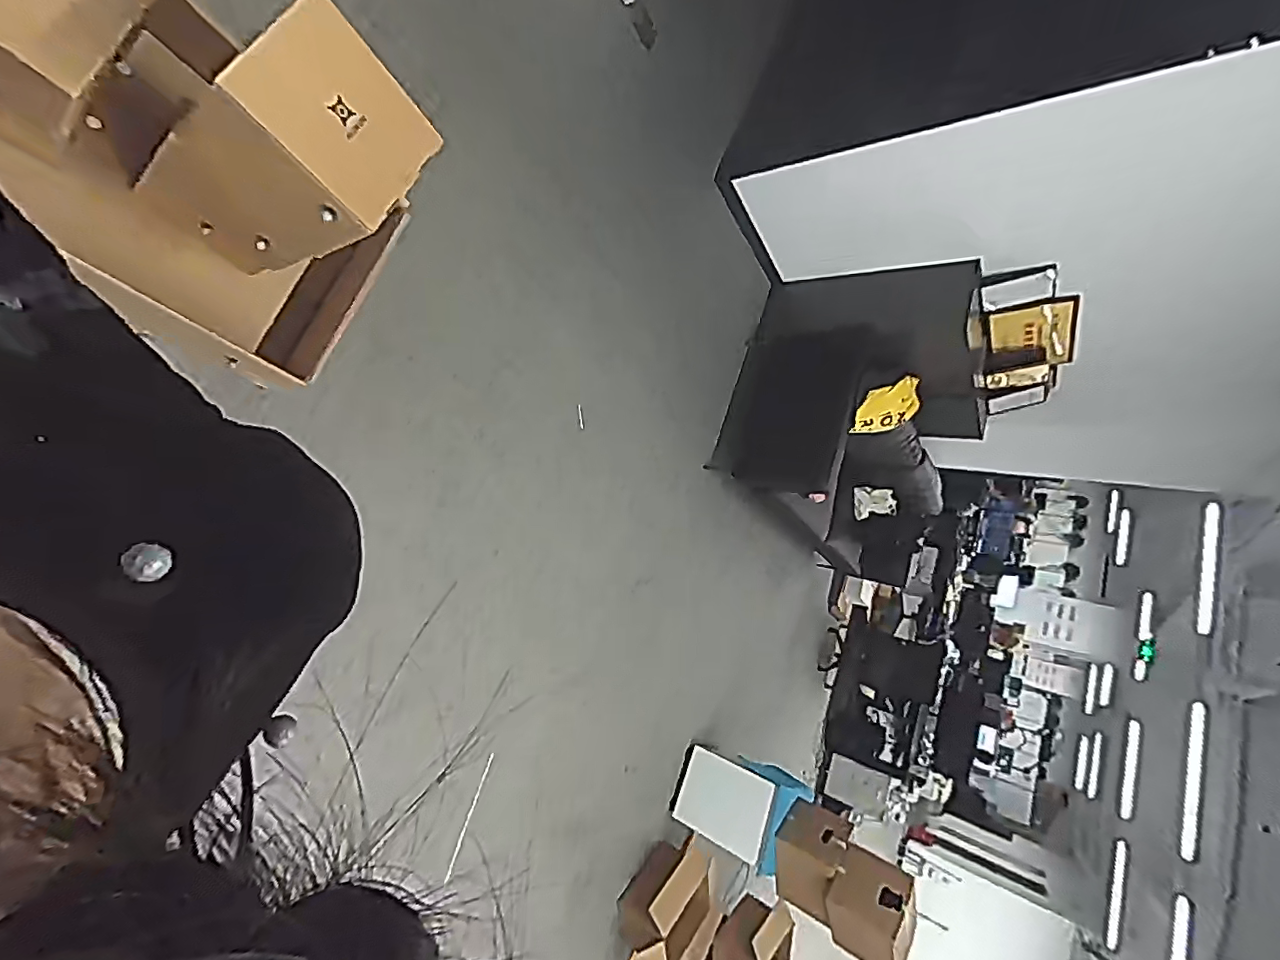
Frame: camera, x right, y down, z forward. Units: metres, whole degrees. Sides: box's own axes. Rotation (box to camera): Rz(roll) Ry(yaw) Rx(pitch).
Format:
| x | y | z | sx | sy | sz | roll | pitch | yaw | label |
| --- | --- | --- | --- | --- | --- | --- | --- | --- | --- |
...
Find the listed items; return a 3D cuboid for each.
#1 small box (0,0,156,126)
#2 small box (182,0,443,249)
| x | y | z | sx | sy | sz | roll | pitch | yaw | label |
| --- | --- | --- | --- | --- | --- | --- | --- | --- | --- |
| -0.636 | -0.502 | 0.544 | 0.168 | 0.176 | 0.179 | 39 | 68 | -50 | small box |
| -0.380 | -0.400 | 0.633 | 0.179 | 0.176 | 0.168 | 45 | 62 | -45 | small box |
